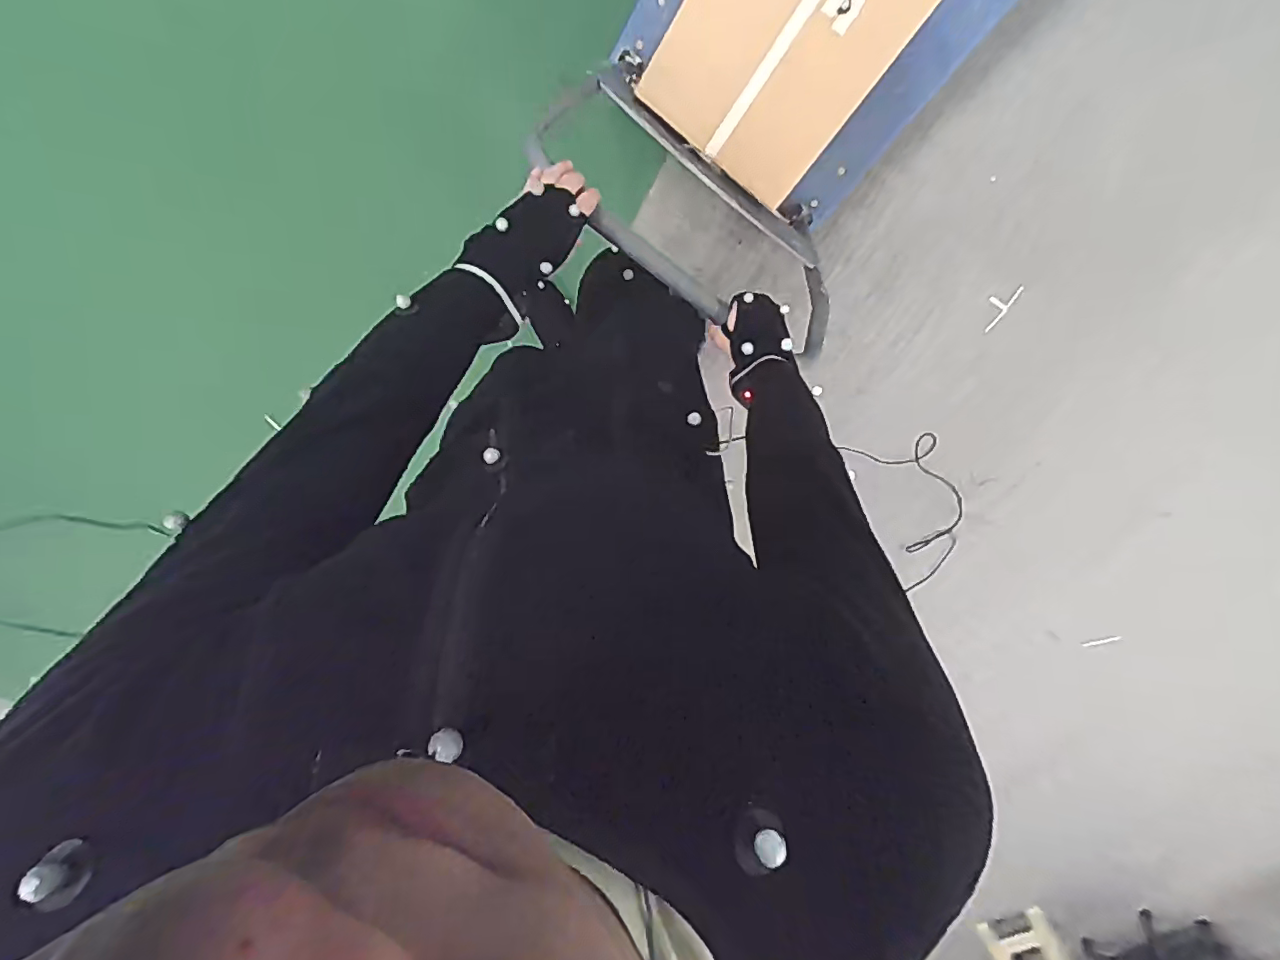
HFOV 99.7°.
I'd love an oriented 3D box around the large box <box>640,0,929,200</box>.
[{"bbox_3d":[0.248,-0.792,0.955,0.320,0.320,0.408,32,124,-15],"label":"large box"}]
